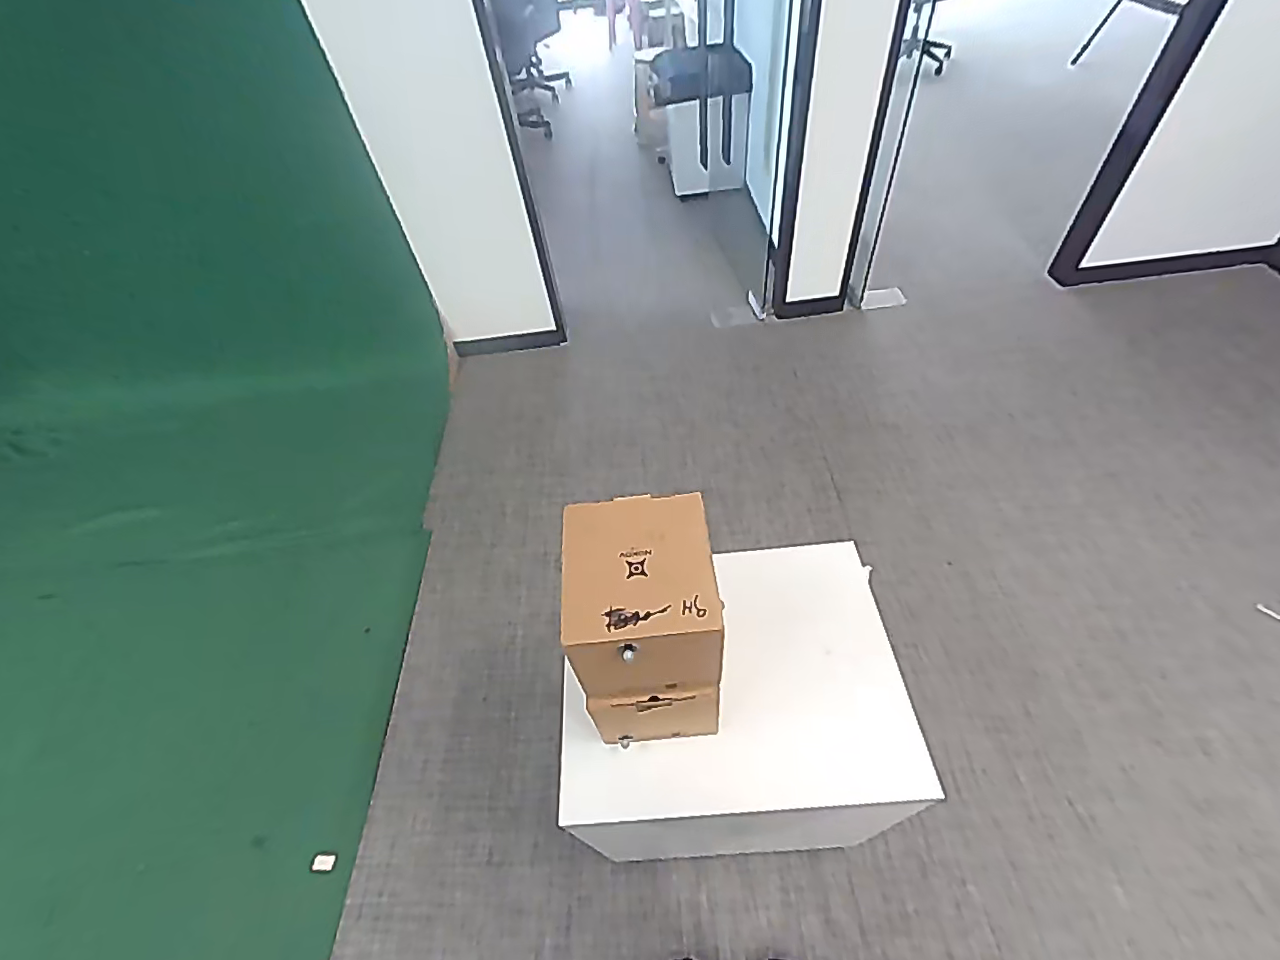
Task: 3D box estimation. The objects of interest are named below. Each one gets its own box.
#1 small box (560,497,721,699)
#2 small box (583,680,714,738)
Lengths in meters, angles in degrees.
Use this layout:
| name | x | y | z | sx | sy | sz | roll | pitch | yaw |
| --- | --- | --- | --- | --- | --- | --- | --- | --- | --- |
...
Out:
| name | x | y | z | sx | sy | sz | roll | pitch | yaw |
| --- | --- | --- | --- | --- | --- | --- | --- | --- | --- |
| small box | 0.003 | 0.145 | 0.656 | 0.168 | 0.176 | 0.179 | -7 | 49 | 2 |
| small box | 0.015 | 0.257 | 0.775 | 0.168 | 0.176 | 0.179 | -6 | 49 | 2 |
